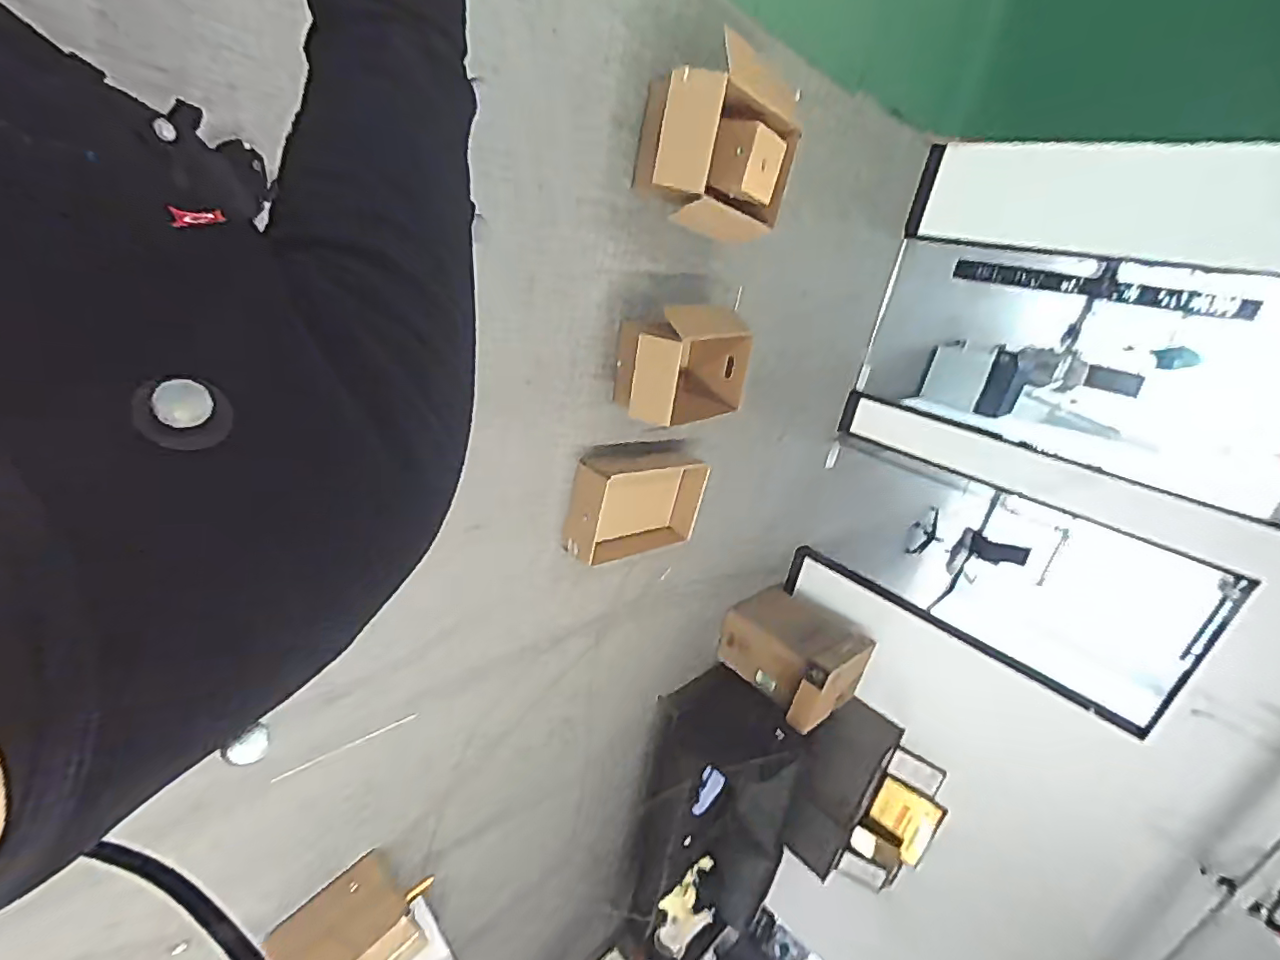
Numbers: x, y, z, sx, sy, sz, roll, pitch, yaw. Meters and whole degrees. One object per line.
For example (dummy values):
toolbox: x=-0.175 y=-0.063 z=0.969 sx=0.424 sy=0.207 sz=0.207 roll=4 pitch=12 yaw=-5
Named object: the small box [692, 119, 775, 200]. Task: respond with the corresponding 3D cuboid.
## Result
small box: x=0.287 y=-1.000 z=1.690 sx=0.168 sy=0.176 sz=0.179 roll=-7 pitch=118 yaw=-47
